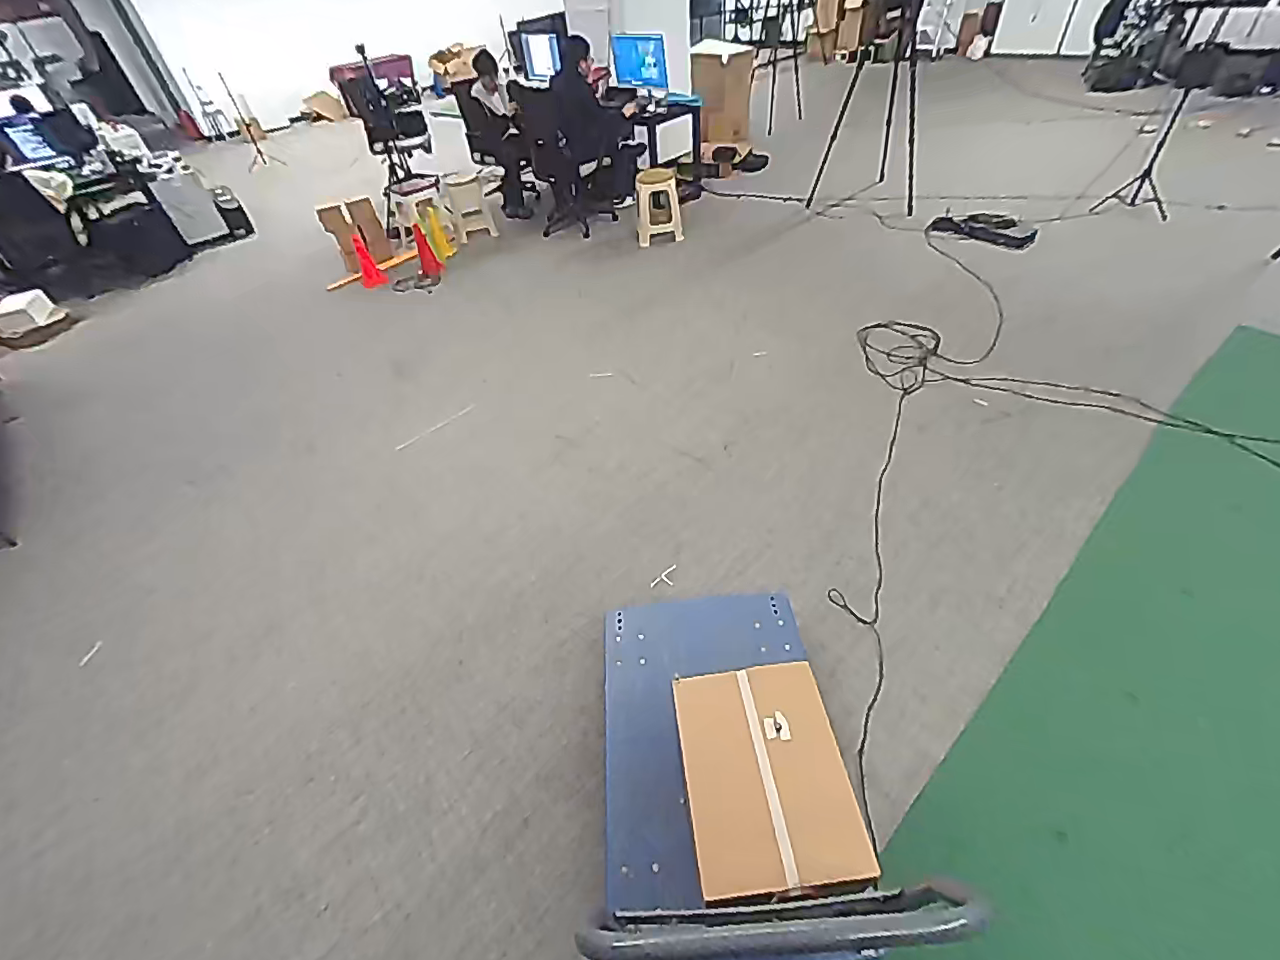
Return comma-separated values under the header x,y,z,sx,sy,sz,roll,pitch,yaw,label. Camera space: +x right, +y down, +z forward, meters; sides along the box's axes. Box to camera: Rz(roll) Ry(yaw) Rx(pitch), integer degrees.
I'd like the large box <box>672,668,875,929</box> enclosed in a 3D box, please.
x,y,z,sx,sy,sz,roll,pitch,yaw,label
0.260,0.693,1.192,0.320,0.320,0.408,-7,43,-1,large box
